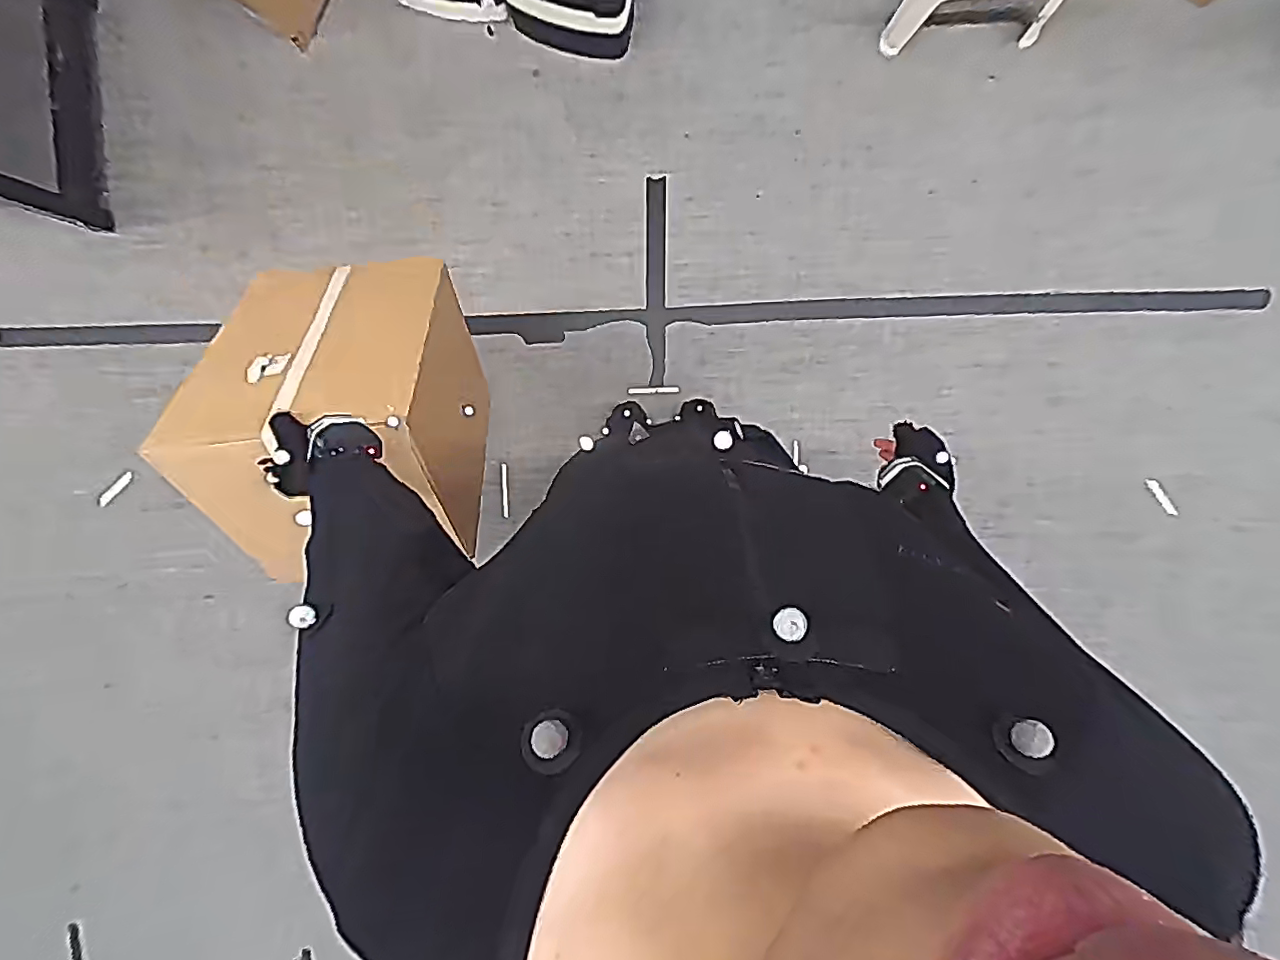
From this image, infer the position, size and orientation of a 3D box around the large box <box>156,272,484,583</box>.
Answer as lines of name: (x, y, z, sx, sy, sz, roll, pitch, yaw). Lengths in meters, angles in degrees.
large box: (-0.455, -0.093, 0.897, 0.320, 0.408, 0.320, -8, 139, -2)
